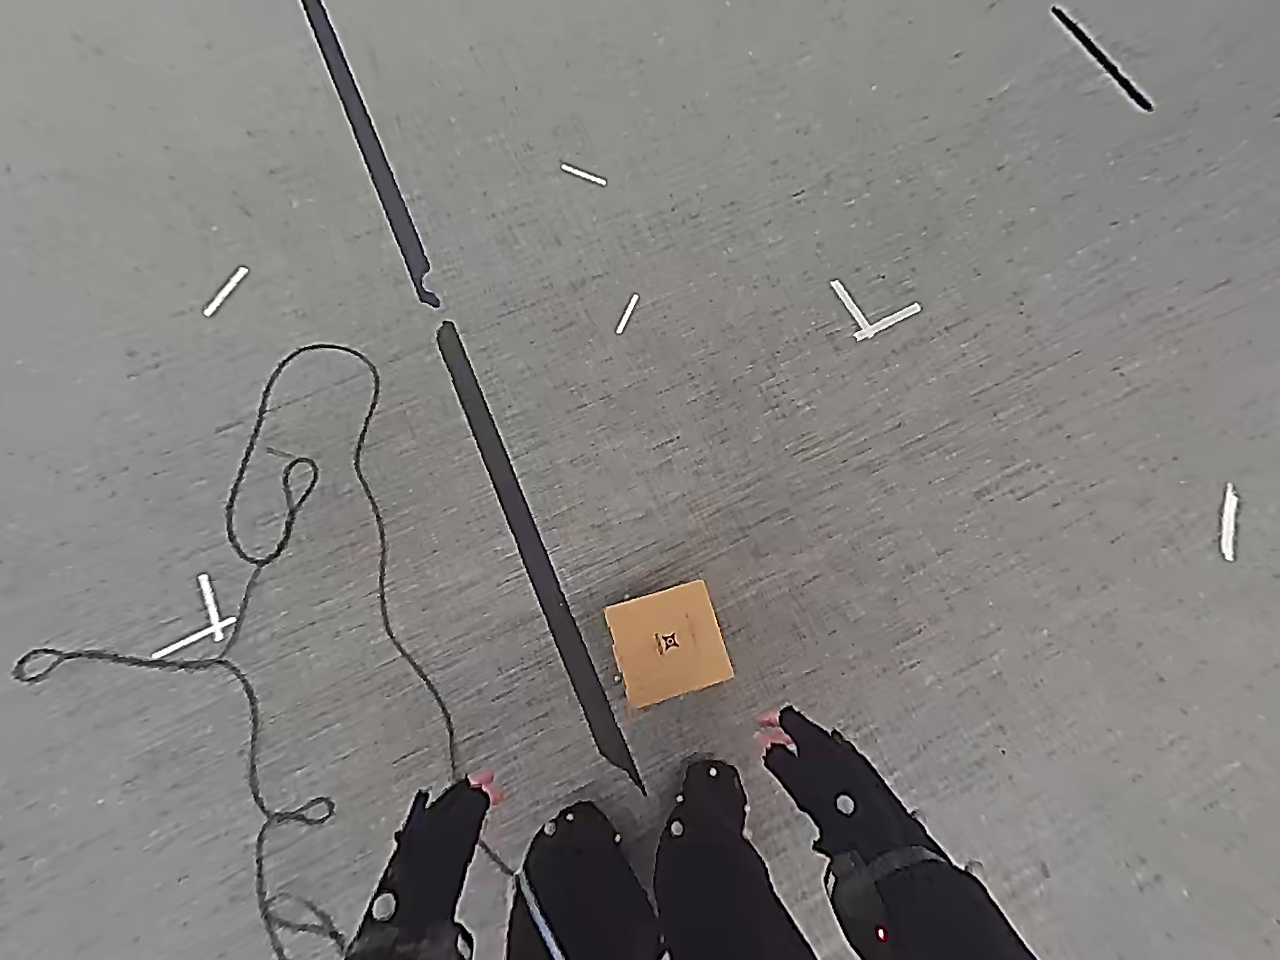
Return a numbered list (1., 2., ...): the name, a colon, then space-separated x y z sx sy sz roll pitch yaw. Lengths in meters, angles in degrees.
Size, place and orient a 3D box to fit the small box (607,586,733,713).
1. small box: 0.049 0.299 0.964 0.179 0.176 0.168 -15 75 -5
